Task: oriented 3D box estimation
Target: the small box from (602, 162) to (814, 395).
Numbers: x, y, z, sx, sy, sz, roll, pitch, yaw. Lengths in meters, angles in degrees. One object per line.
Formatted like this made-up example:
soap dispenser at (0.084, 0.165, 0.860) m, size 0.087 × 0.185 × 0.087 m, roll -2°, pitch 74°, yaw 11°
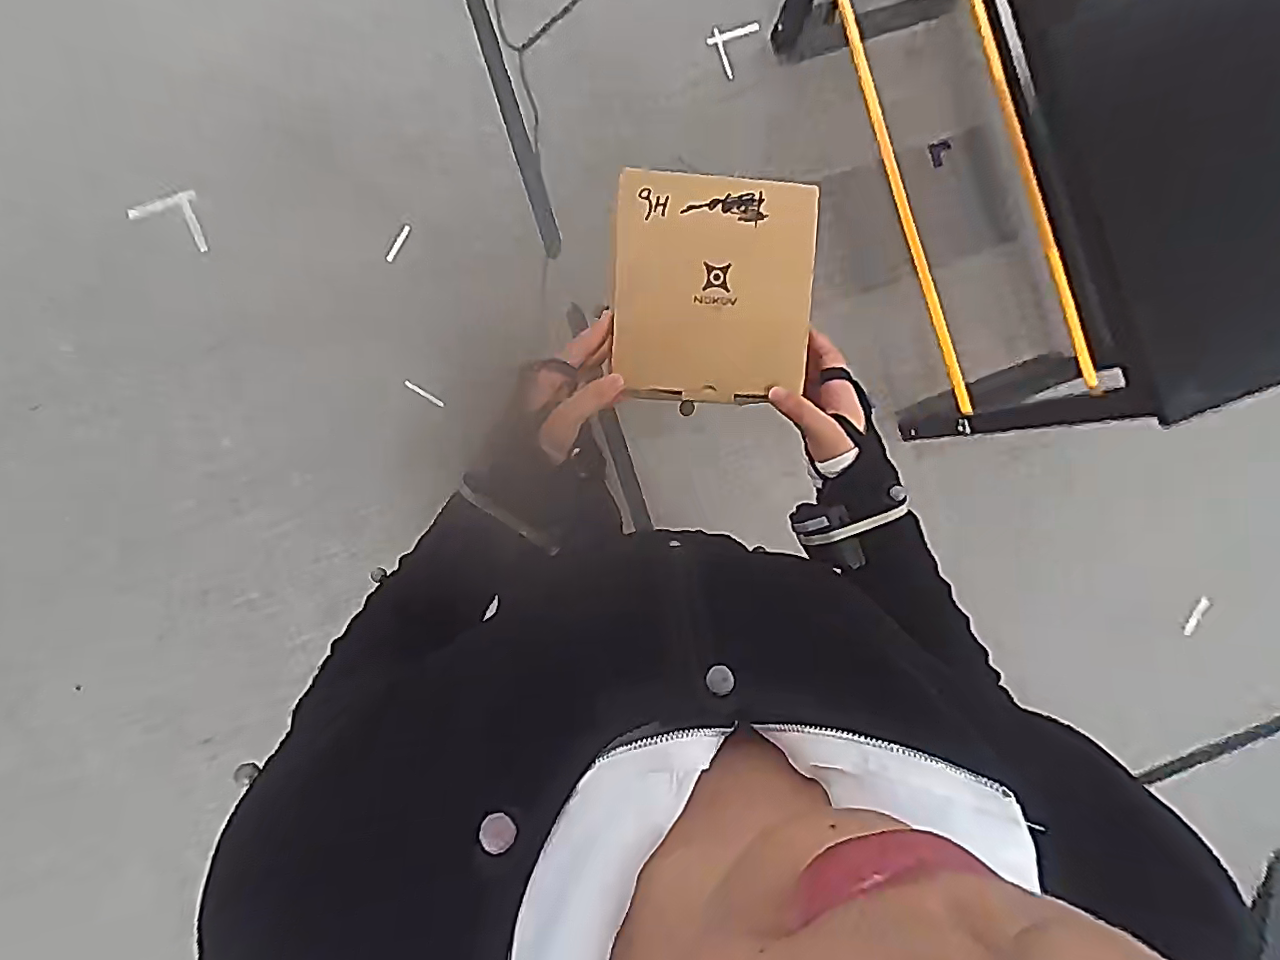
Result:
small box at (0.050, -0.174, 0.523) m, size 0.168 × 0.176 × 0.179 m, roll 2°, pitch 98°, yaw -6°
